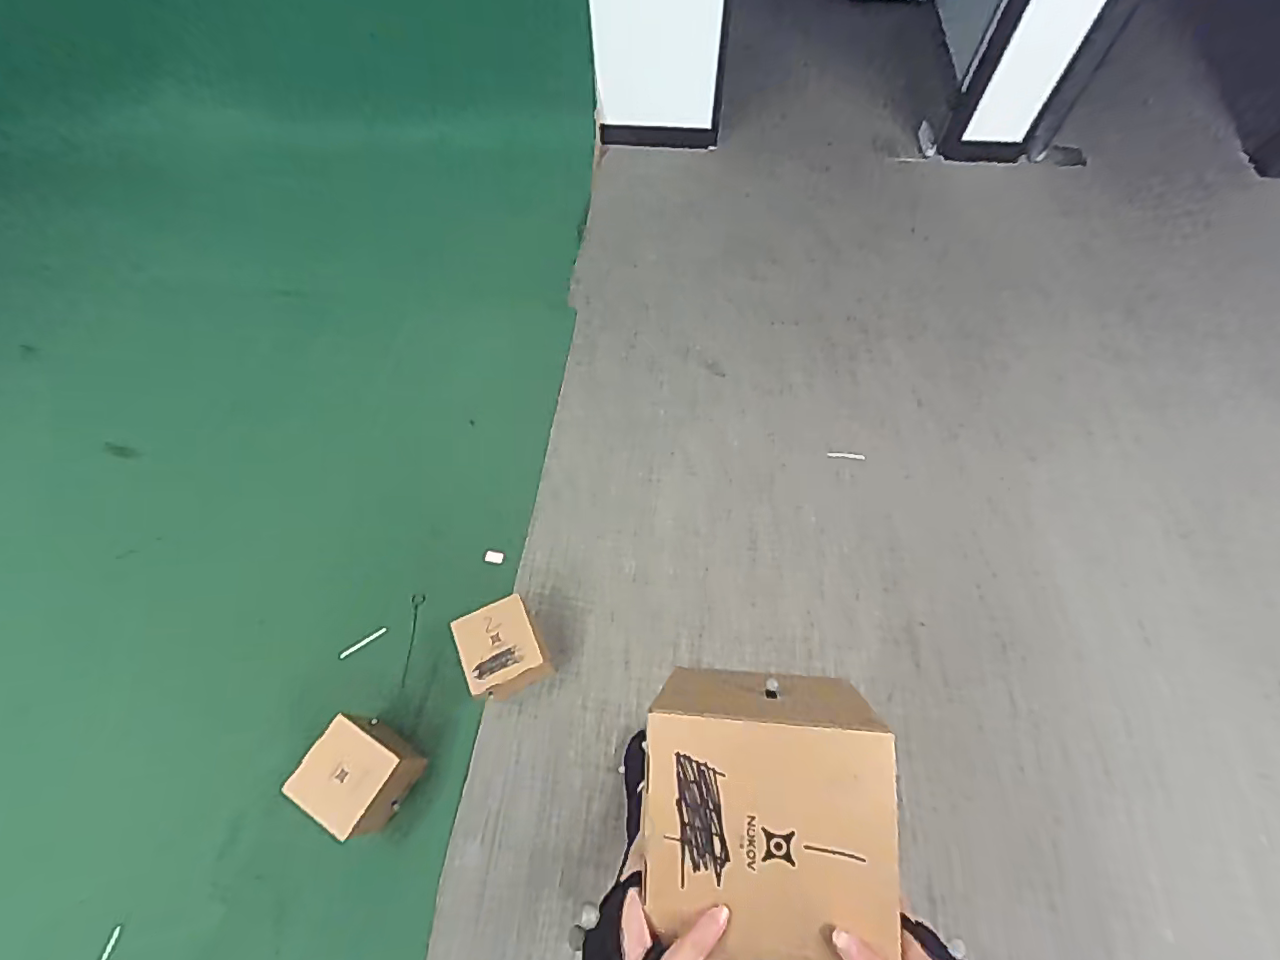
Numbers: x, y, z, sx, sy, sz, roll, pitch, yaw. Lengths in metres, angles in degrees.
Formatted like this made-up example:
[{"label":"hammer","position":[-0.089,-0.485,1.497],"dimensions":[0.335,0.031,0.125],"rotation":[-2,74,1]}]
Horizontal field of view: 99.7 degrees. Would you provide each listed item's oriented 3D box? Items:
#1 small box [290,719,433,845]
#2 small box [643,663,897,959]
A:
[{"label":"small box","position":[-0.586,0.642,1.159],"dimensions":[0.179,0.176,0.168],"rotation":[27,67,15]},{"label":"small box","position":[0.105,0.259,0.467],"dimensions":[0.179,0.176,0.168],"rotation":[0,81,11]}]
